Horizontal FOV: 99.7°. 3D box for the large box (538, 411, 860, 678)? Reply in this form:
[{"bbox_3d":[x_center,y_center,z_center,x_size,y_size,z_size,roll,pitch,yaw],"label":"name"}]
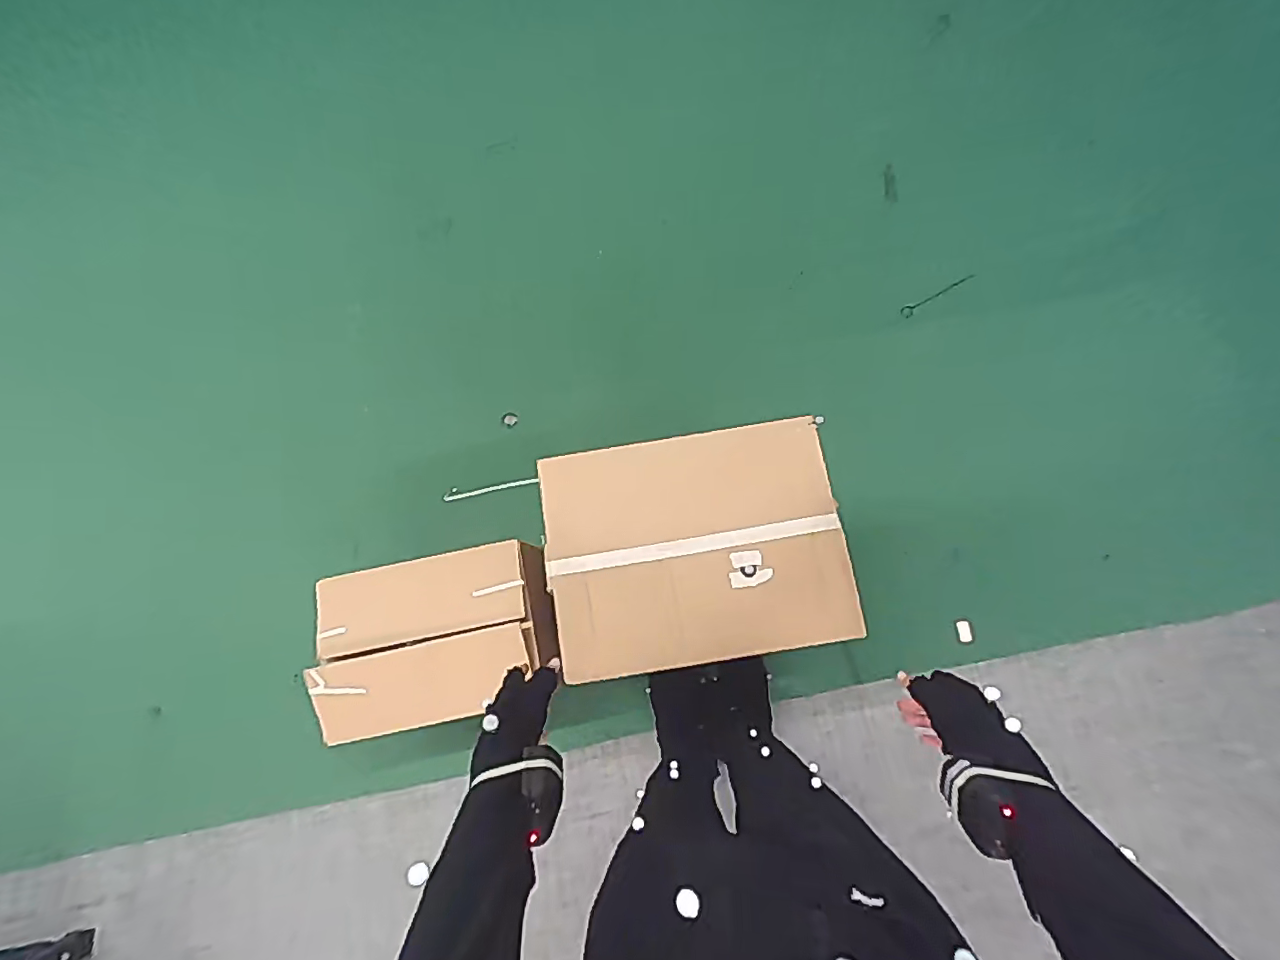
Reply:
[{"bbox_3d":[0.075,0.113,0.890,0.408,0.320,0.320,-9,79,-1],"label":"large box"}]
